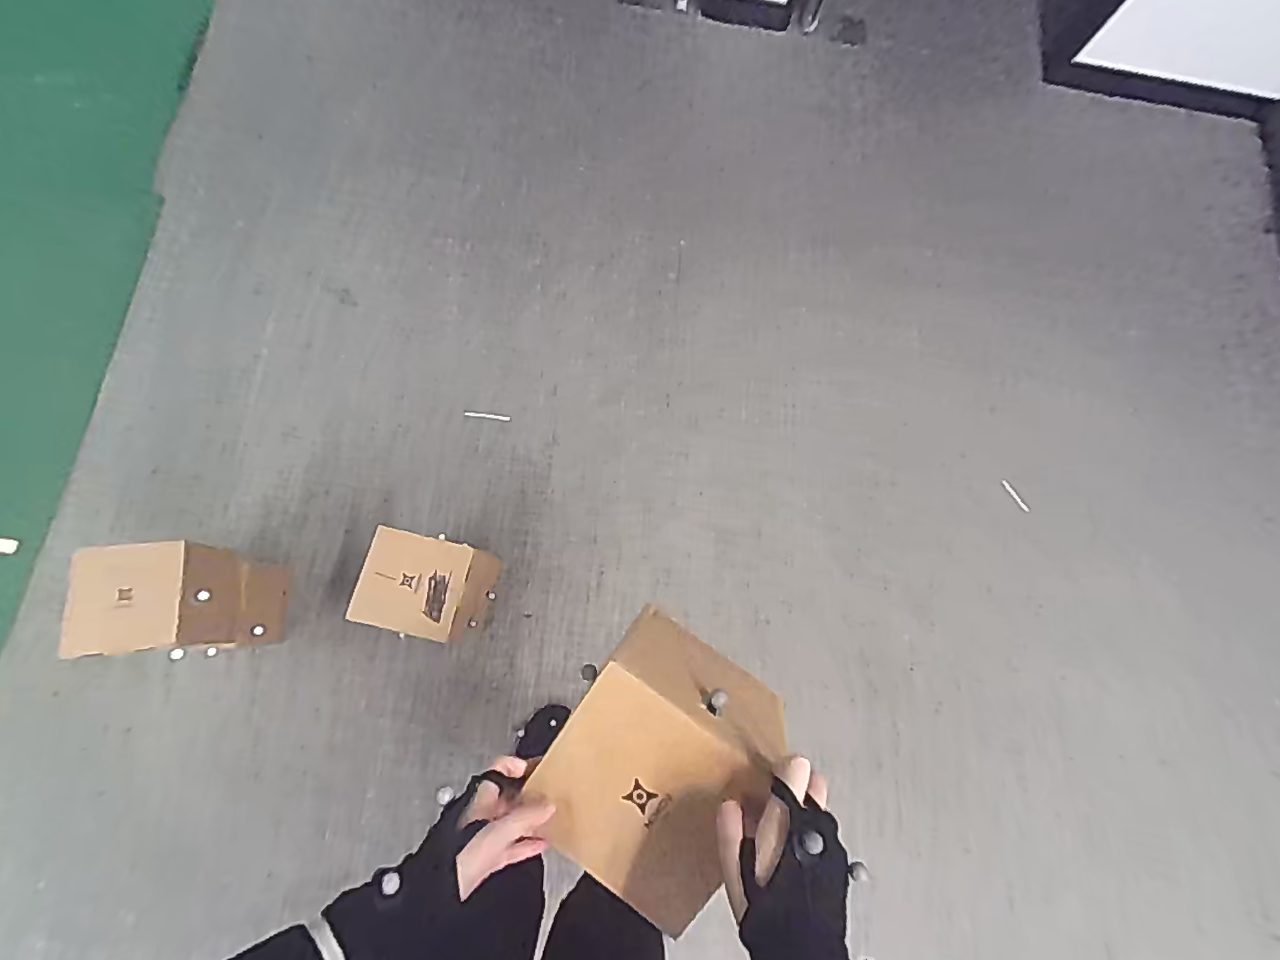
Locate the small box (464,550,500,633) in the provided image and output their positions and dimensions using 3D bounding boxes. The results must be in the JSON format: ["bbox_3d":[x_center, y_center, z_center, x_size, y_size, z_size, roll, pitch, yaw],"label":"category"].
[{"bbox_3d":[-0.414,0.227,1.168,0.179,0.176,0.168,14,74,-4],"label":"small box"}]

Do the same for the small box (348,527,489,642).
[{"bbox_3d":[-0.397,0.195,1.006,0.179,0.176,0.168,14,75,-2],"label":"small box"}]

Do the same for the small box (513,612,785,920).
[{"bbox_3d":[0.015,0.250,0.529,0.179,0.176,0.168,34,98,6],"label":"small box"}]

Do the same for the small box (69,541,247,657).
[{"bbox_3d":[-0.832,0.209,0.954,0.168,0.176,0.179,-3,76,-8],"label":"small box"}]
